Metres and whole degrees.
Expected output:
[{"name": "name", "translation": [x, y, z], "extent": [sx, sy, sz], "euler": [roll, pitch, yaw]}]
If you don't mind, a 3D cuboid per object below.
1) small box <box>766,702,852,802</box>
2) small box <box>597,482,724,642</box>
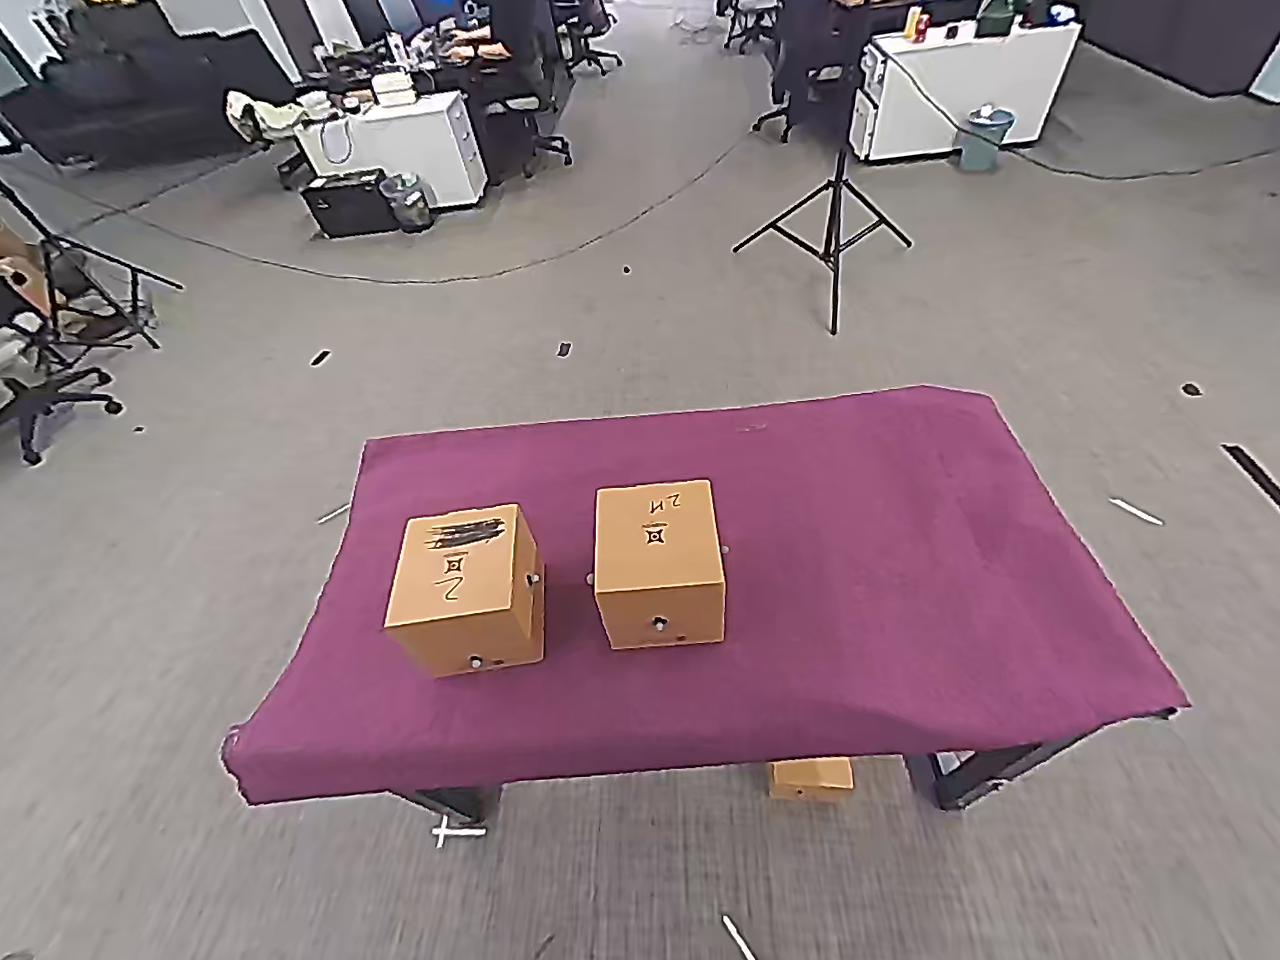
[{"name": "small box", "translation": [0.388, 0.641, 1.269], "extent": [0.168, 0.176, 0.179], "euler": [-1, 48, 8]}, {"name": "small box", "translation": [0.033, 0.126, 0.793], "extent": [0.168, 0.176, 0.179], "euler": [-5, 47, 3]}]
